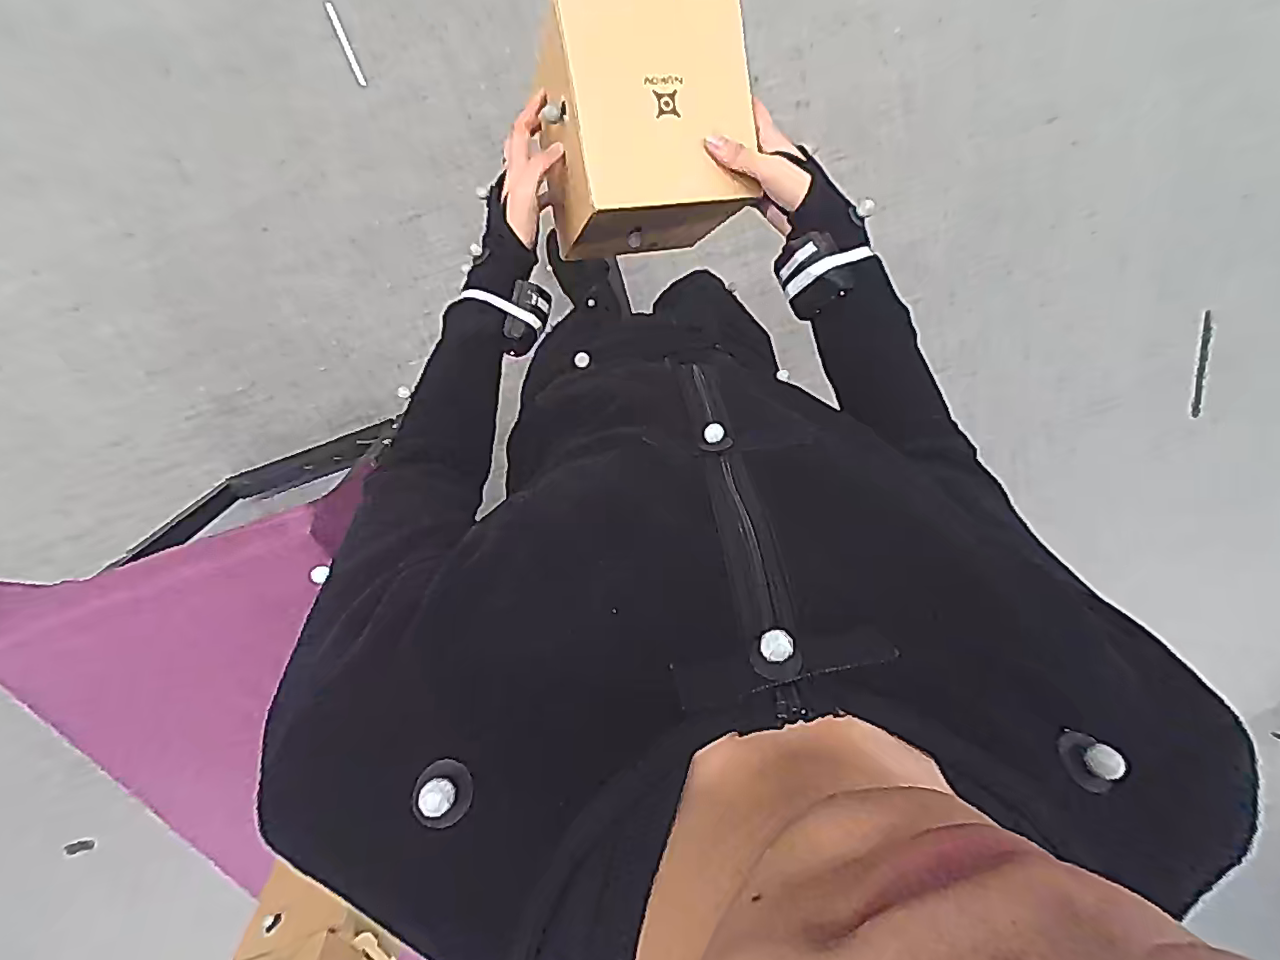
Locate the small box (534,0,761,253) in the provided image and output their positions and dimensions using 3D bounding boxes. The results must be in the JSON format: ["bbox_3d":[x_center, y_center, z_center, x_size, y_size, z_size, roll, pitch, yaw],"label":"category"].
[{"bbox_3d":[-0.003,-0.336,0.533,0.168,0.176,0.179,-13,99,-15],"label":"small box"}]

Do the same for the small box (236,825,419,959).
[{"bbox_3d":[-0.494,0.712,0.886,0.179,0.176,0.168,-18,116,0],"label":"small box"}]
